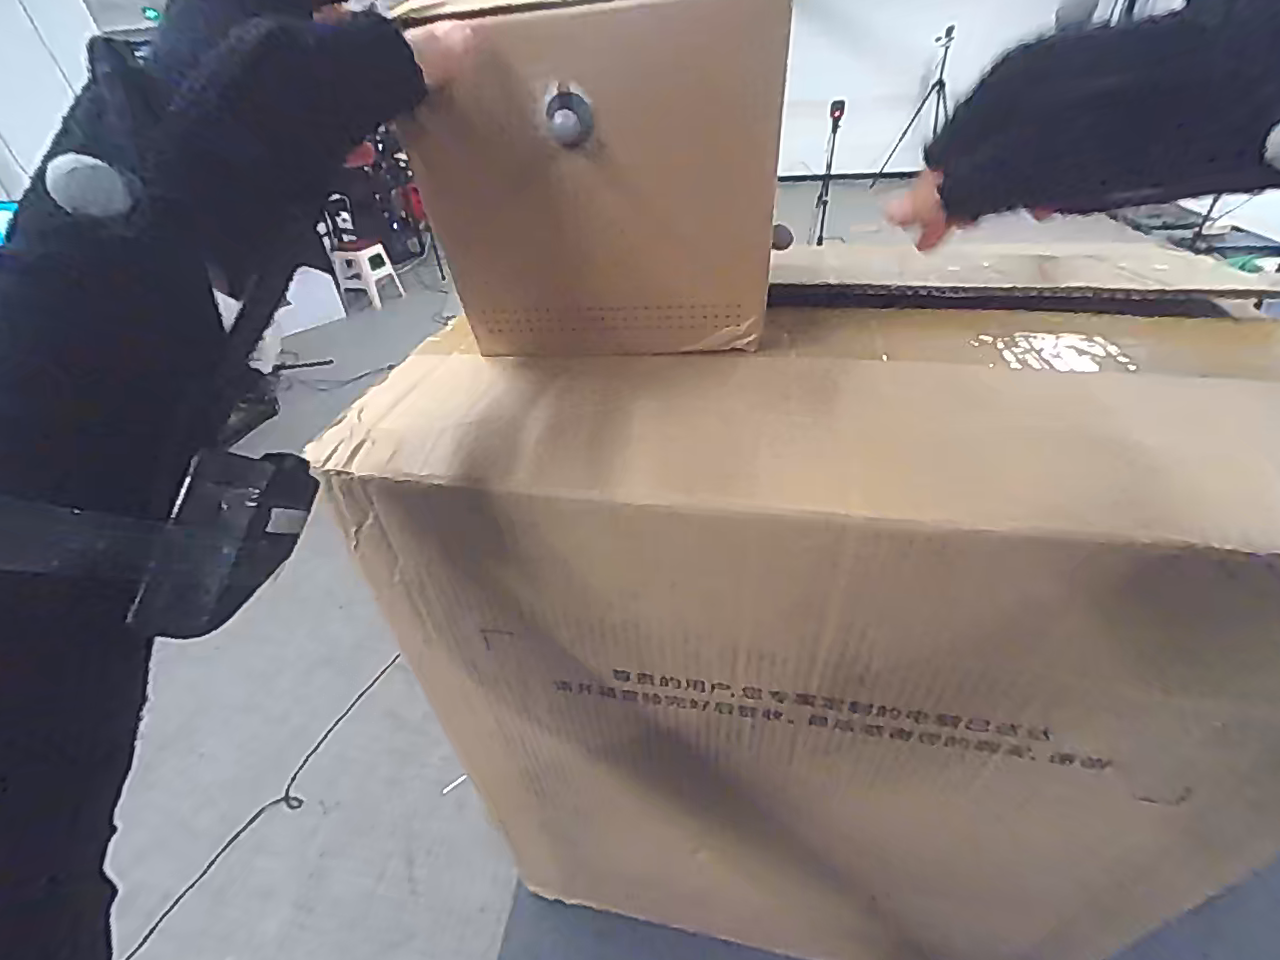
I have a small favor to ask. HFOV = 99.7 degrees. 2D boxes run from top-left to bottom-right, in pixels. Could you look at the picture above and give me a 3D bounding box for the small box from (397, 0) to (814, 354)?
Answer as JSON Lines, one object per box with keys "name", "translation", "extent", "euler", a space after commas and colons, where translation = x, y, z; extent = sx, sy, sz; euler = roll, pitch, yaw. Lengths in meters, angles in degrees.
{"name": "small box", "translation": [-0.003, -0.191, 0.326], "extent": [0.179, 0.176, 0.168], "euler": [2, 50, 7]}
